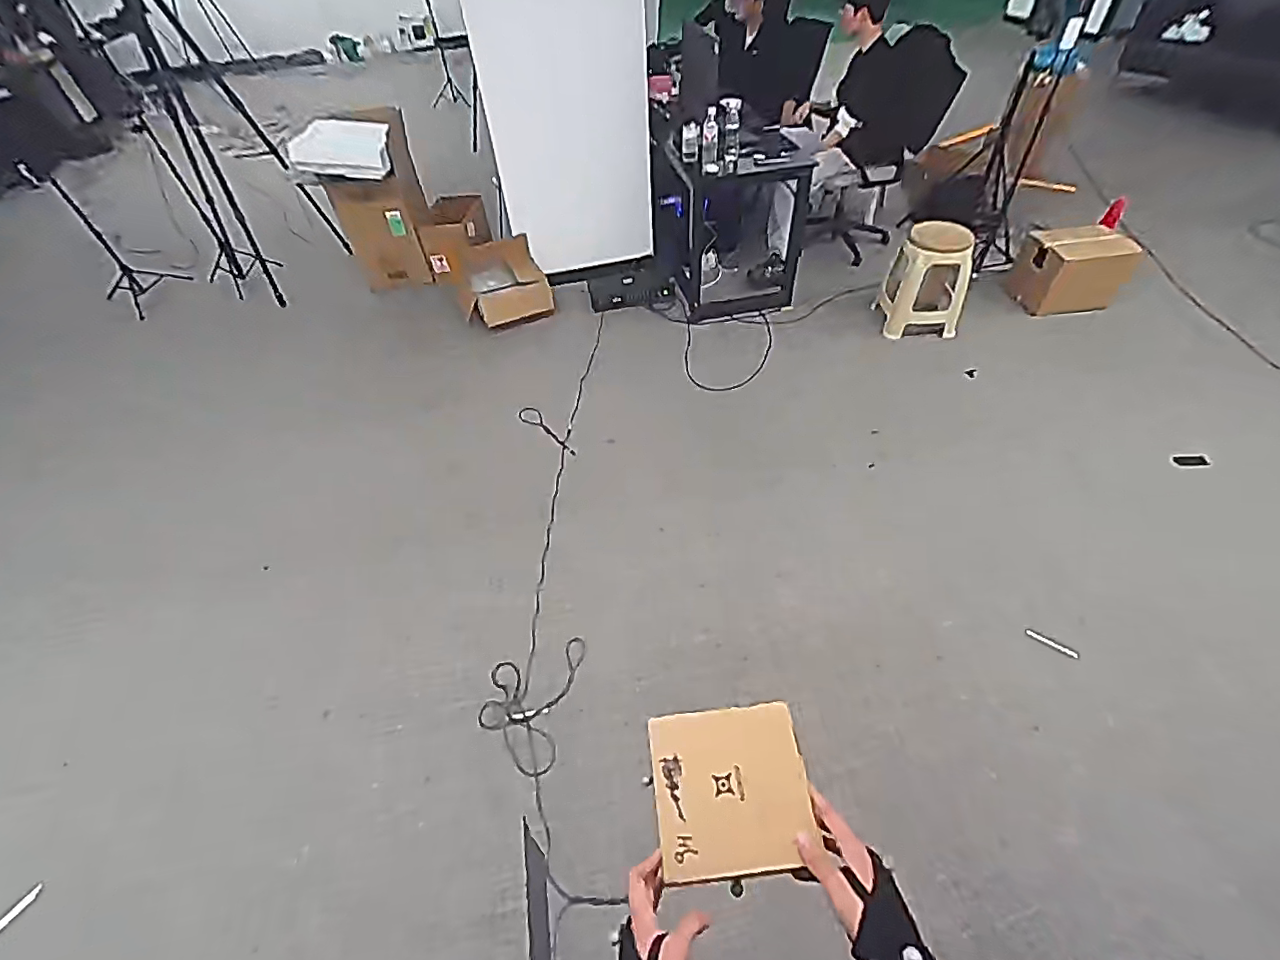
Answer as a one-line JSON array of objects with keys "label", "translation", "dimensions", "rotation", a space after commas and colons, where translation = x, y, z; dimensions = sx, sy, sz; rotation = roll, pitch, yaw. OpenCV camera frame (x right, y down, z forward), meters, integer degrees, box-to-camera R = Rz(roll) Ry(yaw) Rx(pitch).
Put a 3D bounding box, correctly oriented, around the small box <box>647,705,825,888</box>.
[{"label": "small box", "translation": [0.102, 0.393, 0.668], "dimensions": [0.179, 0.176, 0.168], "rotation": [-6, 52, -2]}]
